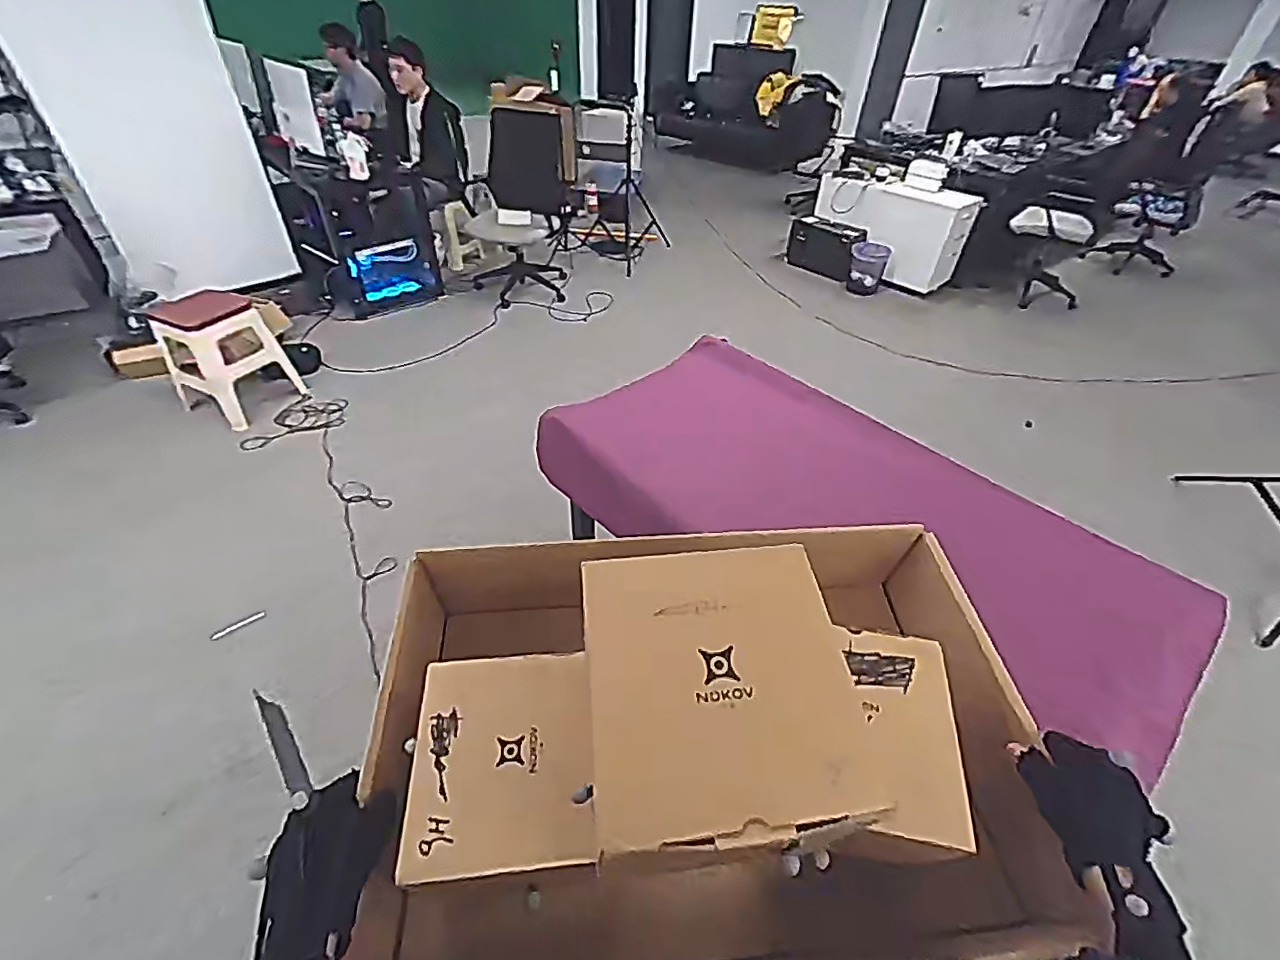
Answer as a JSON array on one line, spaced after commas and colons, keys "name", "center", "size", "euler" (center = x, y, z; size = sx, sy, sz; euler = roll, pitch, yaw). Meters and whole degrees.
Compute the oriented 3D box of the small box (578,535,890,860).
[{"name": "small box", "center": [0.043, 0.163, 0.397], "size": [0.168, 0.176, 0.179], "euler": [-3, 50, -7]}]
